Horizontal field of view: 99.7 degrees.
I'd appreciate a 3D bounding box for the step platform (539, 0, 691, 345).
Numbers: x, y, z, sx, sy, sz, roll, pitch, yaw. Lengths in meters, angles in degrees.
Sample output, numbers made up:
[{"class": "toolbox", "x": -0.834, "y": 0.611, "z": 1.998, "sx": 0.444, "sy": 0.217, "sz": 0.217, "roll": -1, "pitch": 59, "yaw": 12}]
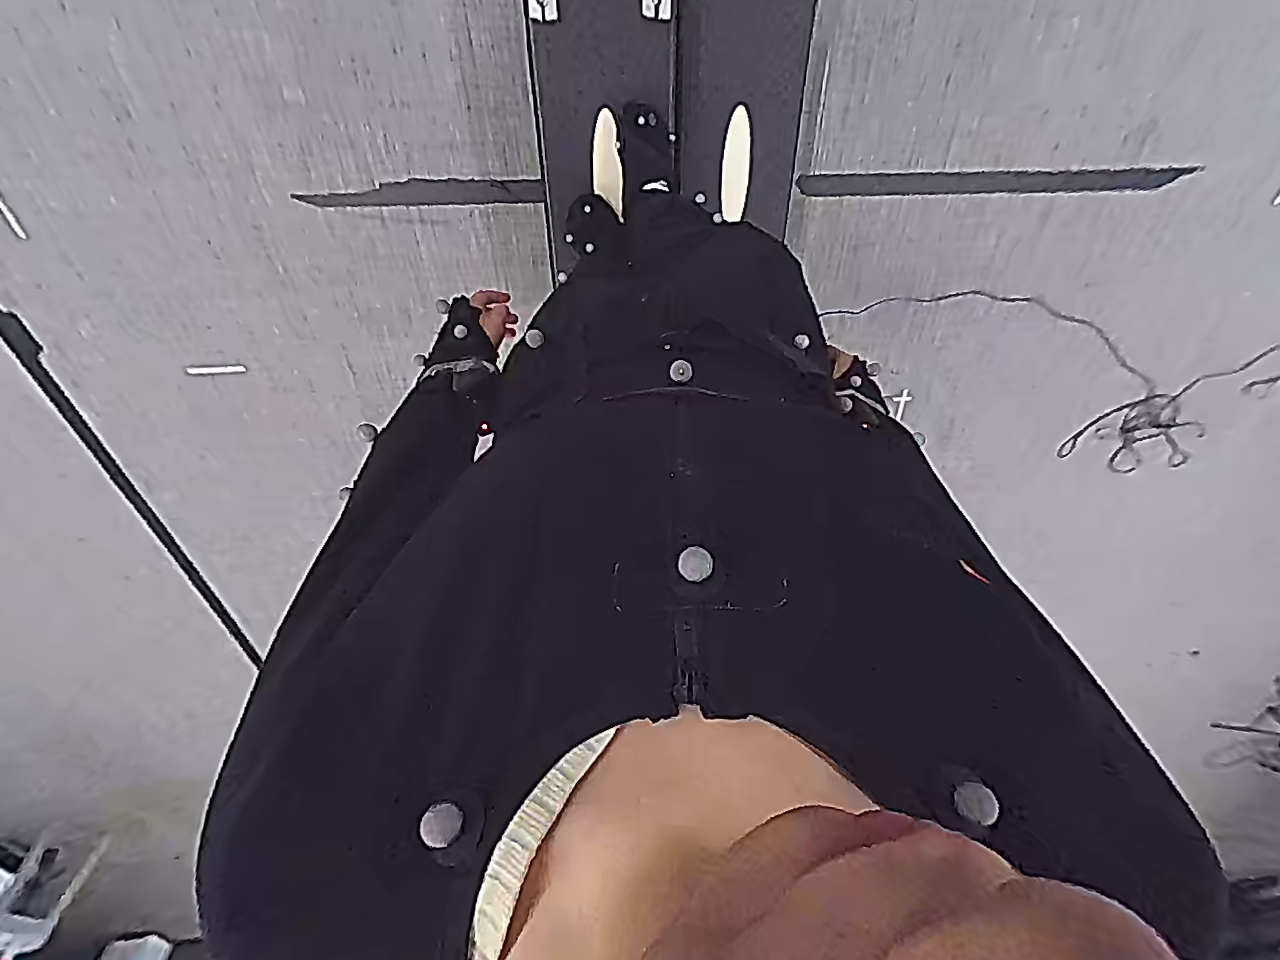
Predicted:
[{"class": "step platform", "x": -0.064, "y": -0.649, "z": 1.195, "sx": 0.286, "sy": 0.204, "sz": 0.684, "roll": 0, "pitch": 124, "yaw": -6}]
